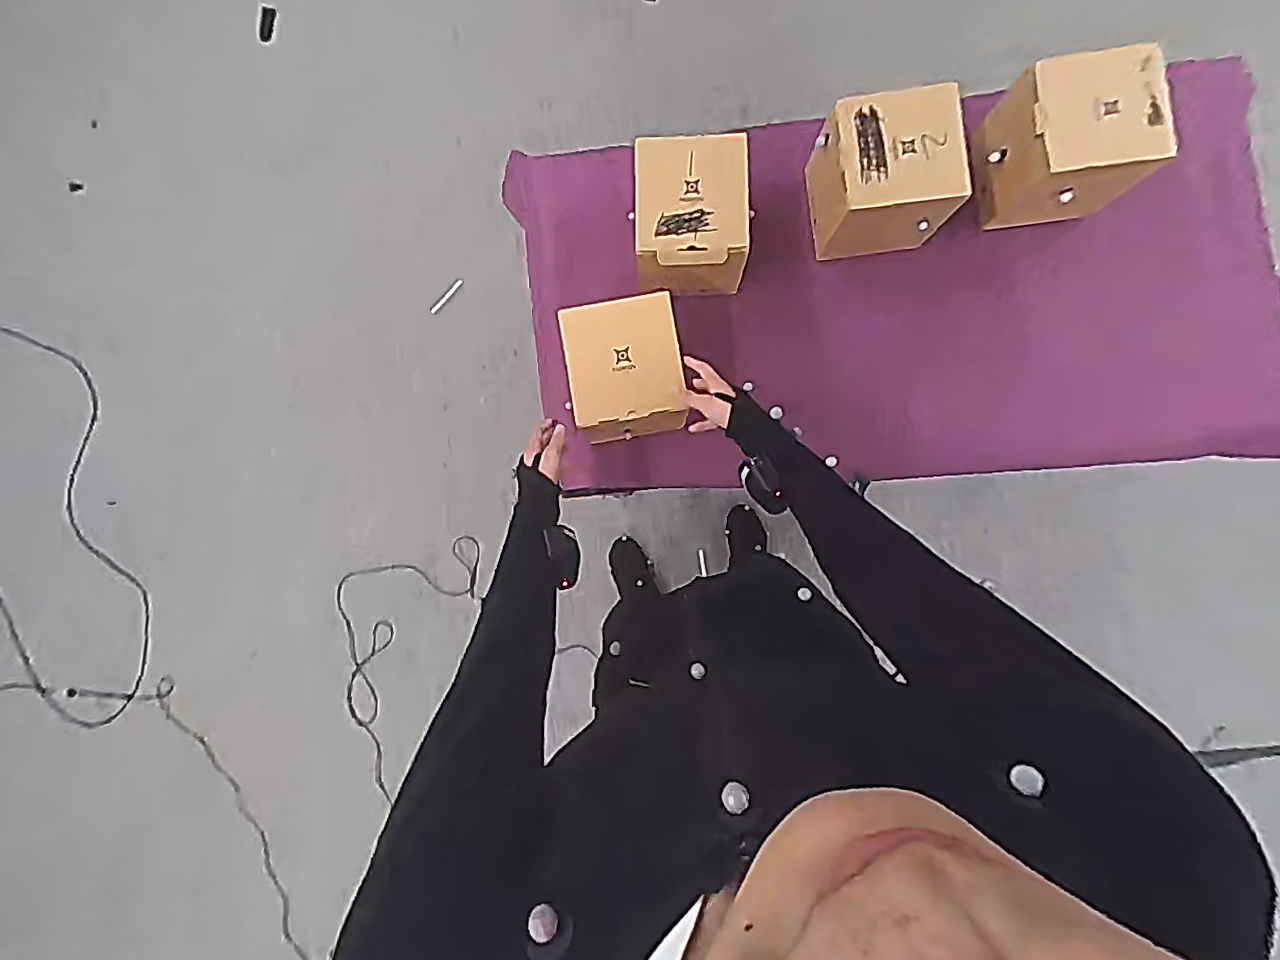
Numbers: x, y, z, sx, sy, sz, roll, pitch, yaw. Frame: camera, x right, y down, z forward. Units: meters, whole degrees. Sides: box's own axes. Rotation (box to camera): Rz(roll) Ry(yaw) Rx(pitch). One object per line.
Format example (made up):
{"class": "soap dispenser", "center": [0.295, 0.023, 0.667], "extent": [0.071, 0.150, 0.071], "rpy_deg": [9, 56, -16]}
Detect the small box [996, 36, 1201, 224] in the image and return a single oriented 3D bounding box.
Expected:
{"class": "small box", "center": [0.663, -0.505, 0.808], "extent": [0.179, 0.176, 0.168], "rpy_deg": [-5, 89, 5]}

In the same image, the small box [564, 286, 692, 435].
{"class": "small box", "center": [-0.016, -0.176, 0.845], "extent": [0.168, 0.176, 0.179], "rpy_deg": [-9, 87, 2]}

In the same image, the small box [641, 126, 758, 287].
{"class": "small box", "center": [0.091, -0.415, 0.850], "extent": [0.168, 0.176, 0.179], "rpy_deg": [1, 88, 4]}
